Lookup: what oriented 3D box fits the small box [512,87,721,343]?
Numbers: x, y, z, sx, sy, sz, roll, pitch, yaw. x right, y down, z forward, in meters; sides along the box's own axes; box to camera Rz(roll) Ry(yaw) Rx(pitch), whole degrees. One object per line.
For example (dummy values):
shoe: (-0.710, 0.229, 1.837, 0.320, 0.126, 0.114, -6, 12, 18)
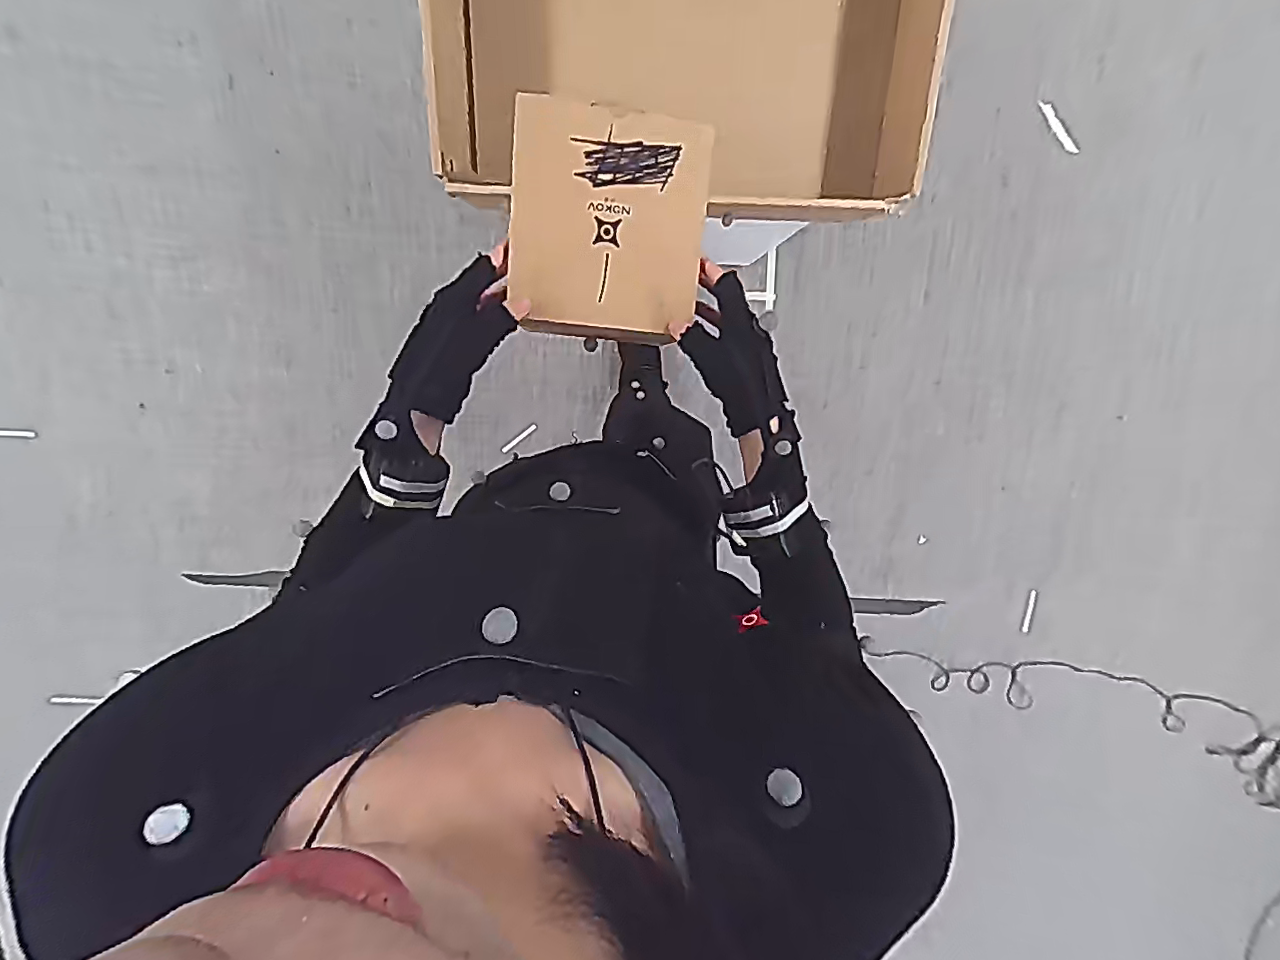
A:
small box: (-0.030, -0.237, 0.534, 0.168, 0.176, 0.179, 4, 101, -7)
